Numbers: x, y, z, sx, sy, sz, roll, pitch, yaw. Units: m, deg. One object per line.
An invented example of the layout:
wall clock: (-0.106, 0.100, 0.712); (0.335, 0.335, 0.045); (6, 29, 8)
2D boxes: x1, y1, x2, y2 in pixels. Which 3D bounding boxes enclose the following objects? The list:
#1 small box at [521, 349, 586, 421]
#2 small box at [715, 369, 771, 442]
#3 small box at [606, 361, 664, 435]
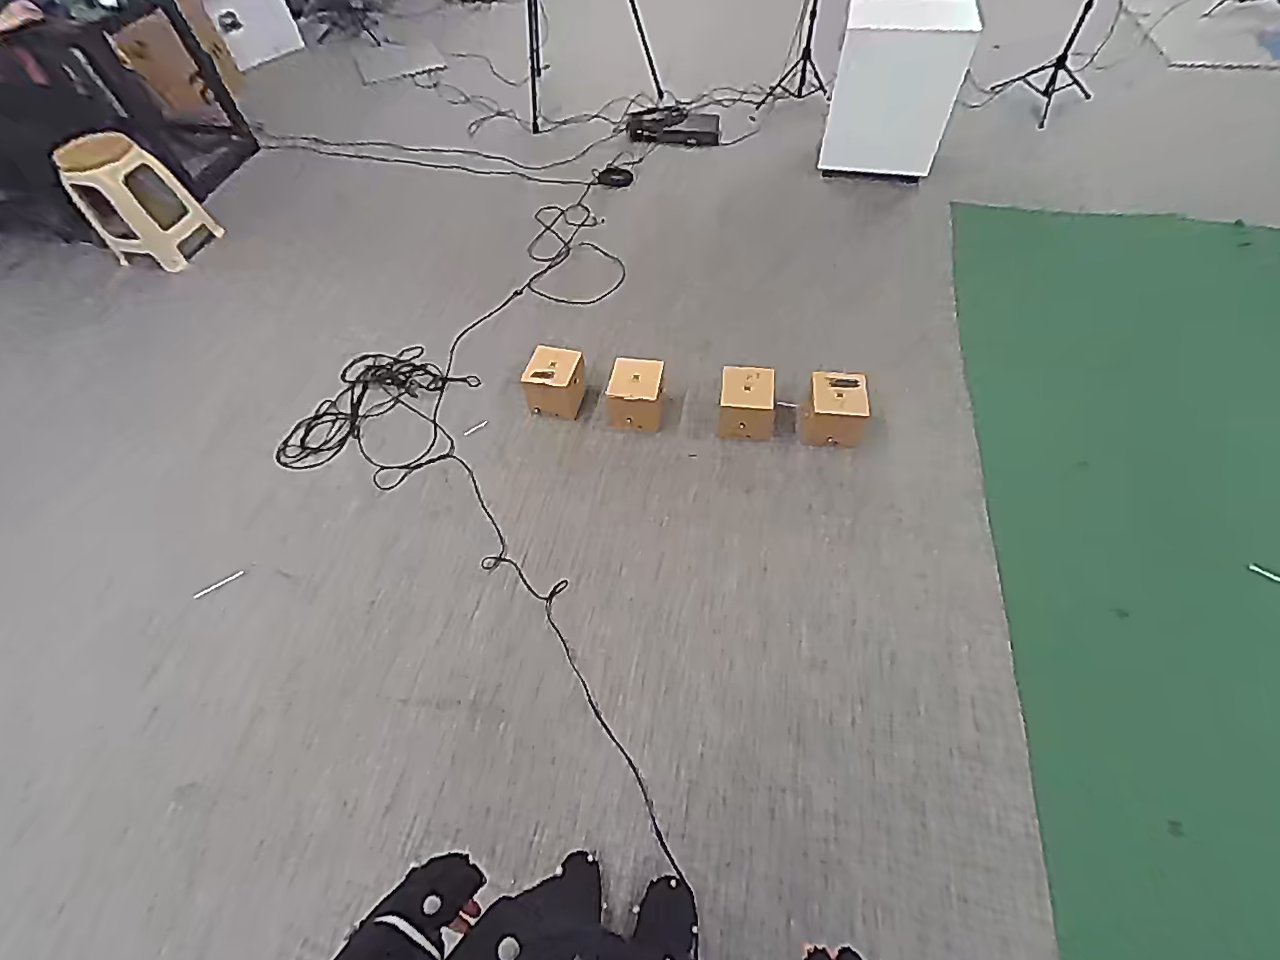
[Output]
small box: (-0.295, -0.329, 1.896); (0.168, 0.176, 0.179); (11, 57, 10)
small box: (0.342, -0.243, 1.799); (0.168, 0.176, 0.179); (5, 57, 6)
small box: (-0.013, -0.279, 1.847); (0.168, 0.176, 0.179); (6, 58, 8)
